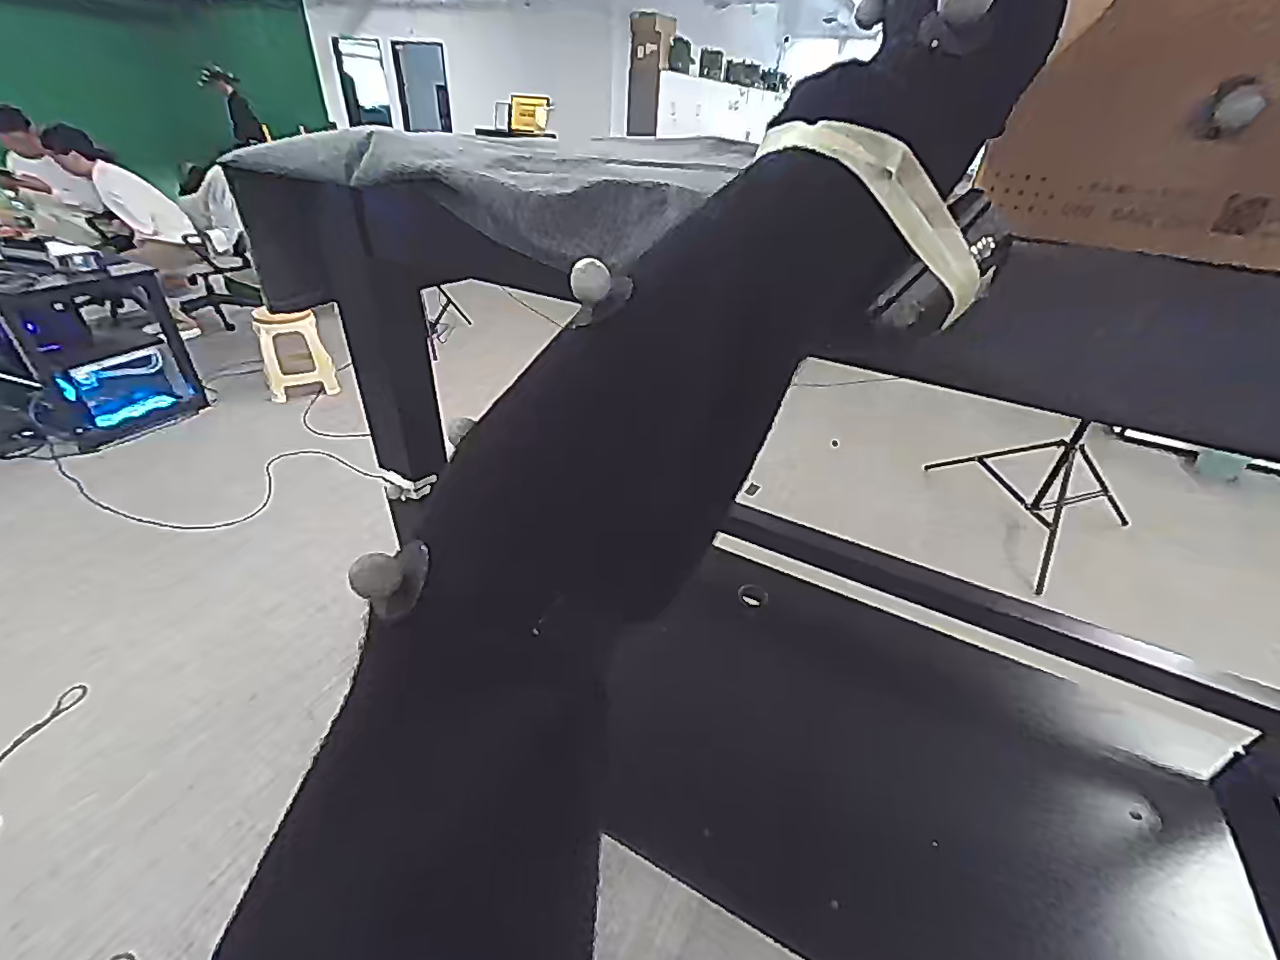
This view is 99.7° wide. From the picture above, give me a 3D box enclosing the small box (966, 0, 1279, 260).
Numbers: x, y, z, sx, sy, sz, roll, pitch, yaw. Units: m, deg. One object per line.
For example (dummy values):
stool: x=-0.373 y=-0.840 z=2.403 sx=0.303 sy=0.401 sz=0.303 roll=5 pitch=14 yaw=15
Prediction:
small box: x=0.279 y=-0.214 z=0.261 sx=0.168 sy=0.176 sz=0.179 roll=20 pitch=35 yaw=22
